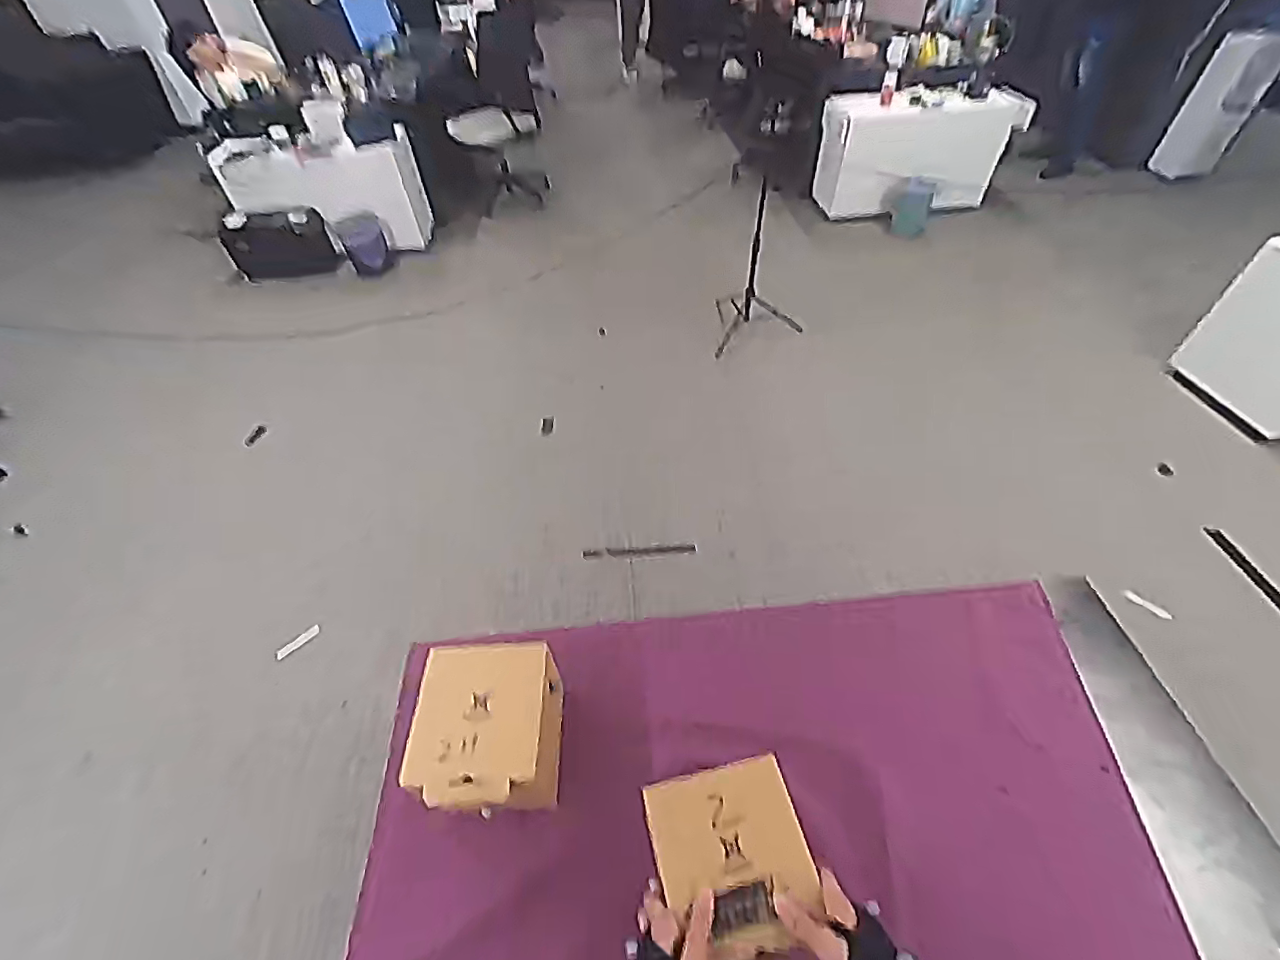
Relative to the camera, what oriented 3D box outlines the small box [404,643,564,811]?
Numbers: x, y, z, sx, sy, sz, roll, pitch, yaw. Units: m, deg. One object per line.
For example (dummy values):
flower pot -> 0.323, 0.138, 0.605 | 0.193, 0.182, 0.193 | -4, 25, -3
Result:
small box -> -0.202, 0.348, 0.761 | 0.168, 0.176, 0.179 | -3, 49, 0
